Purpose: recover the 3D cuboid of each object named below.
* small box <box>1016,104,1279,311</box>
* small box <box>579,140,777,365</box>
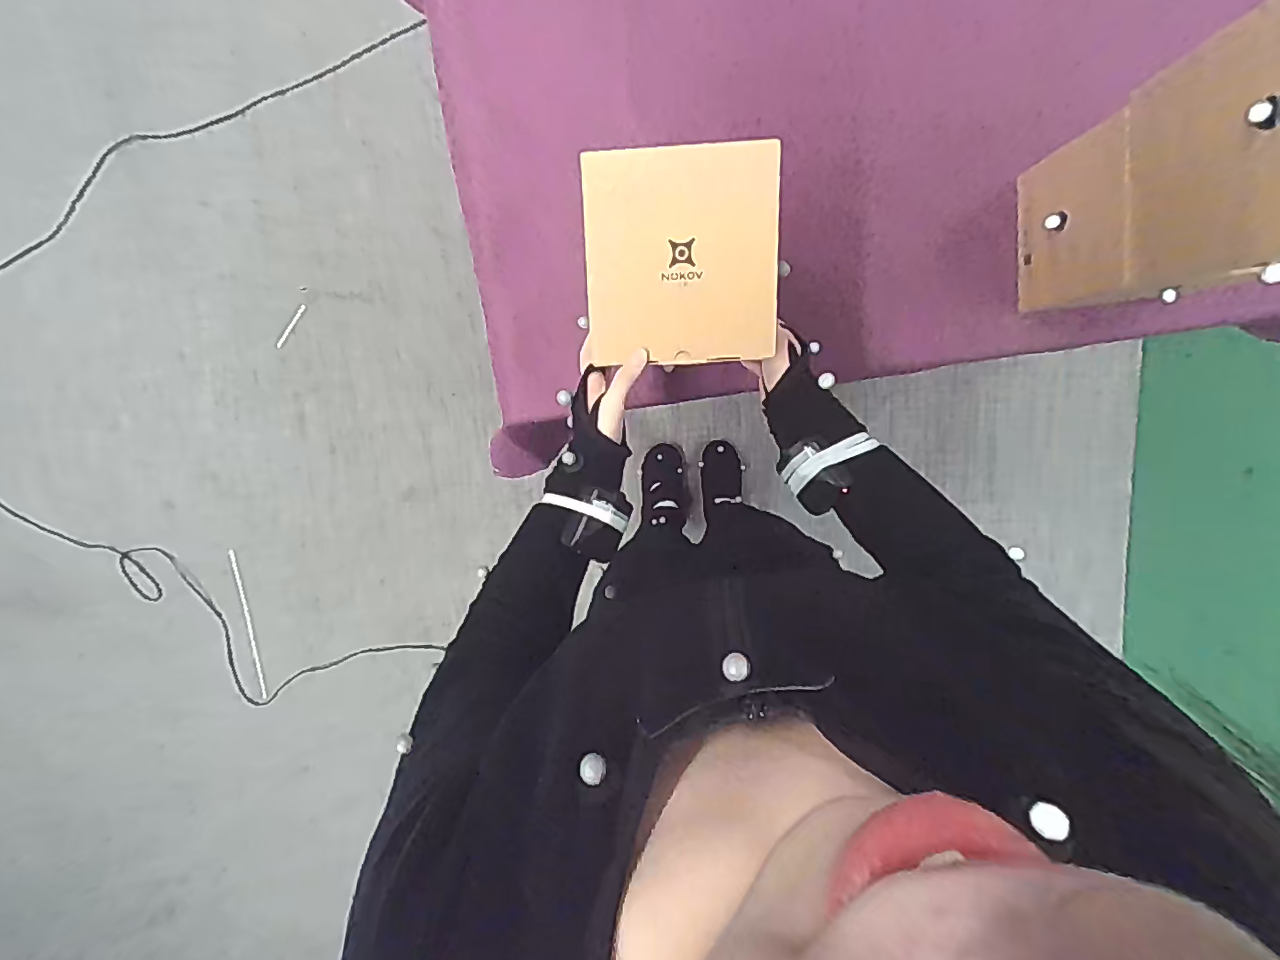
[{"bbox_3d":[0.540,-0.286,0.582,0.179,0.176,0.168,-6,98,5],"label":"small box"},{"bbox_3d":[0.036,-0.208,0.536,0.168,0.176,0.179,-2,105,4],"label":"small box"}]
